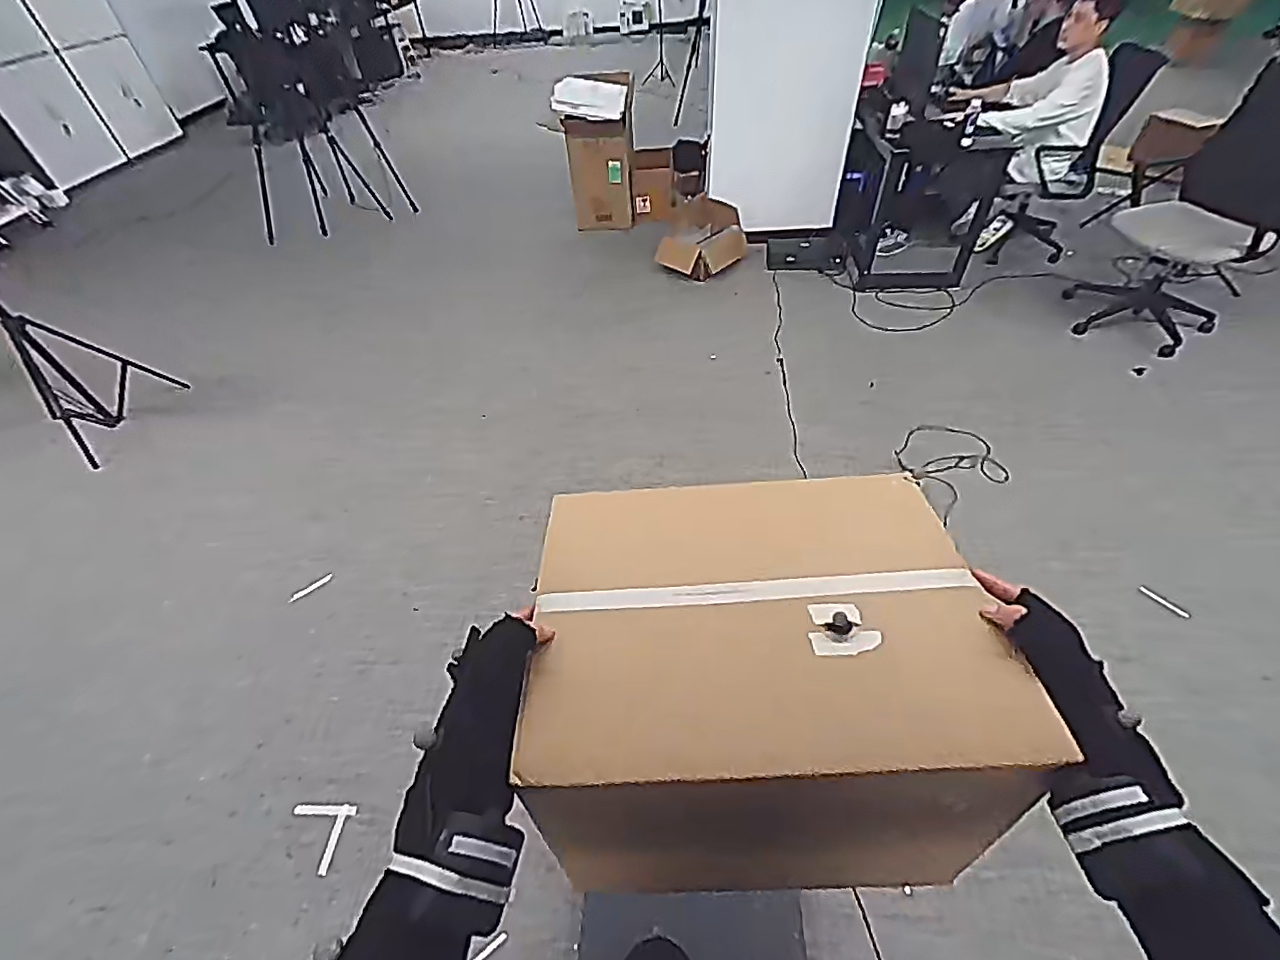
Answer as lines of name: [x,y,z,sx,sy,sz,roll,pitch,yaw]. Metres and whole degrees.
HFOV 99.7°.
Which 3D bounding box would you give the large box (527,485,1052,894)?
large box: [0.116,0.231,0.610,0.408,0.320,0.320,-4,40,2]
